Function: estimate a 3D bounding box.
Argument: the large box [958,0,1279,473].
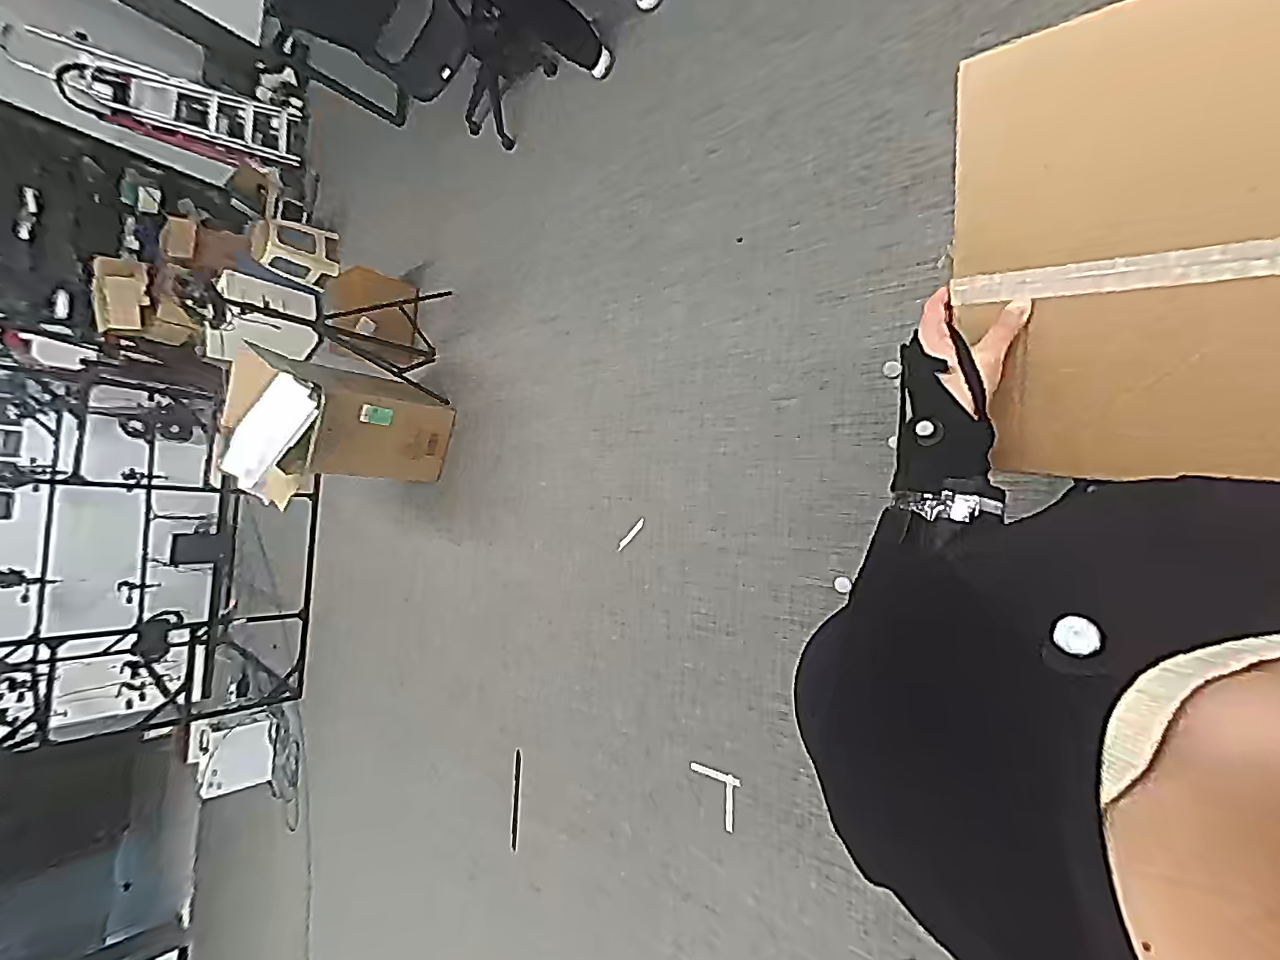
[{"bbox_3d":[0.505,-0.201,0.412,0.408,0.320,0.320,7,119,42],"label":"large box"}]

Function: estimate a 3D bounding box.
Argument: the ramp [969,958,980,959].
[{"bbox_3d":[0.819,1.522,0.938,0.509,0.206,0.991,-2,83,42],"label":"ramp"}]
